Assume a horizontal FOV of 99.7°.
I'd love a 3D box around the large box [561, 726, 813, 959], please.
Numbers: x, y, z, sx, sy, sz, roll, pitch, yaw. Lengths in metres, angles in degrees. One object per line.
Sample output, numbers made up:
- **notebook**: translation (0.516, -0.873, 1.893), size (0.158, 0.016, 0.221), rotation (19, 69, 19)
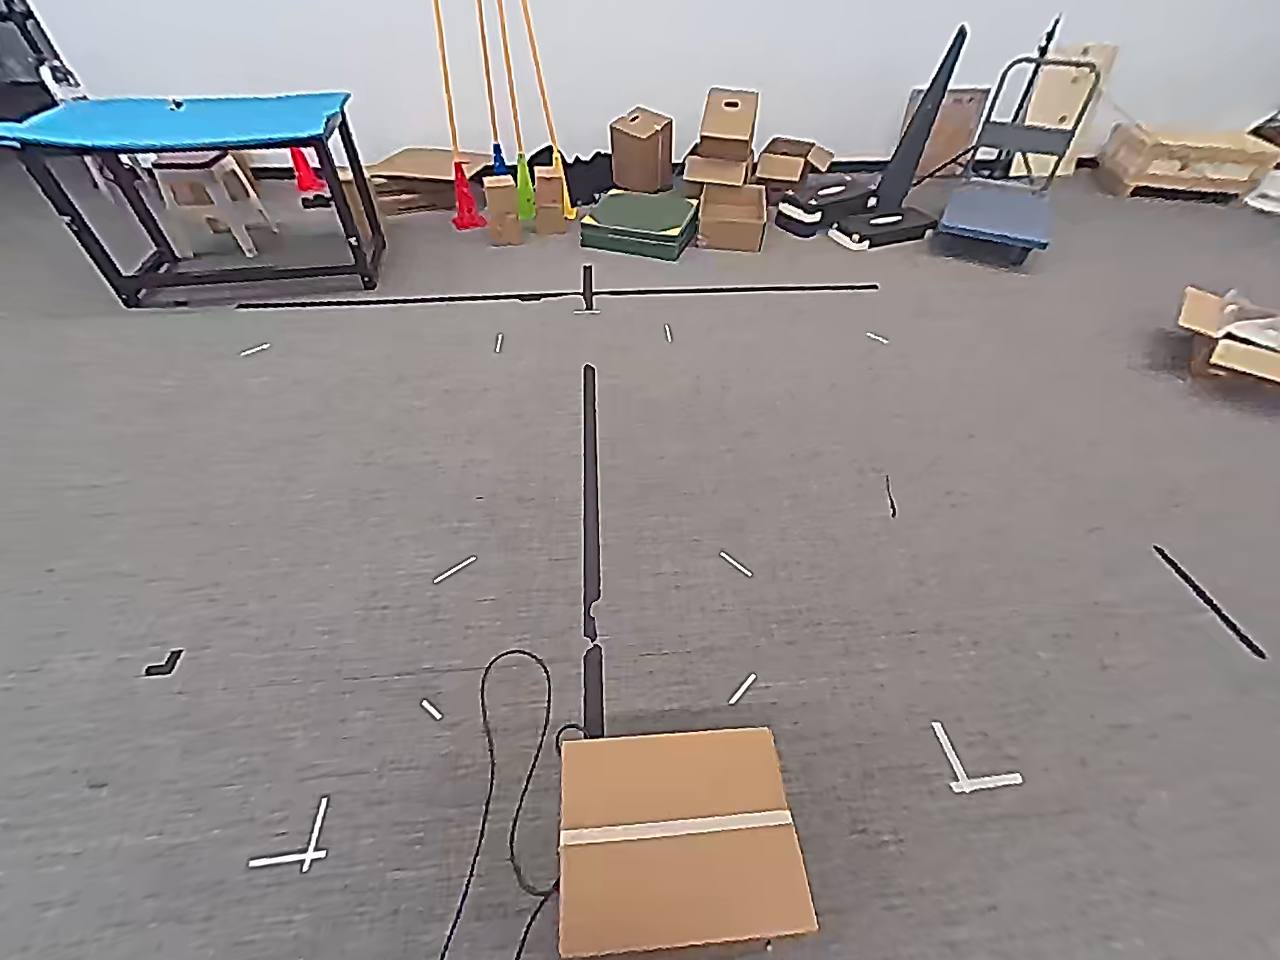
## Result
- **large box**: translation (0.061, 0.702, 1.044), size (0.408, 0.320, 0.320), rotation (-2, 46, -5)
